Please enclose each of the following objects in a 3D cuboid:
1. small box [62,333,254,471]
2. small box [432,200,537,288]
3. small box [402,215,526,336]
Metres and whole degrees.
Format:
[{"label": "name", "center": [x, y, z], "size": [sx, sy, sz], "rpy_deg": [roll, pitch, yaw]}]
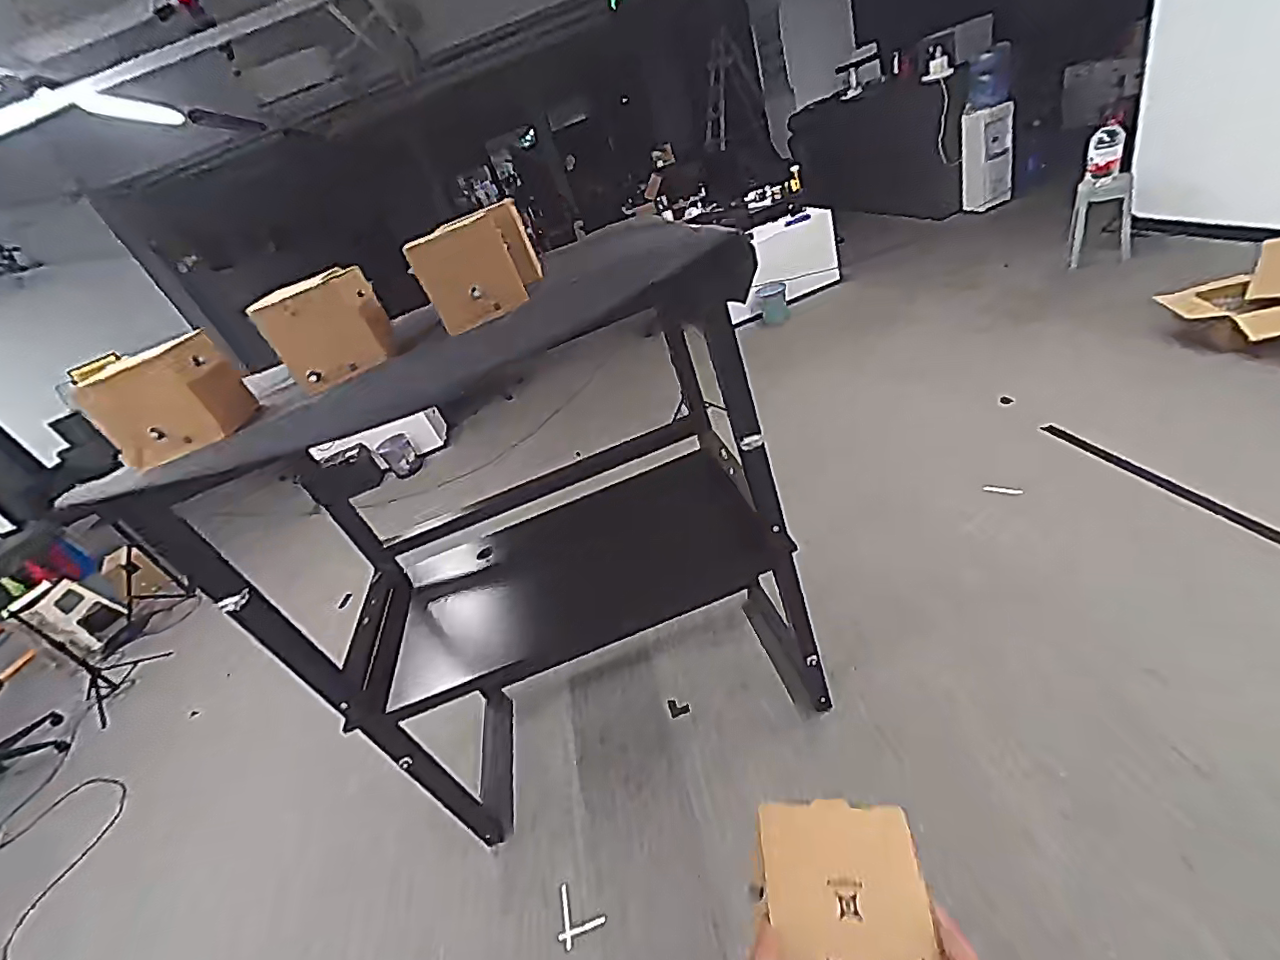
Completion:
[{"label": "small box", "center": [-0.859, -0.144, 0.992], "size": [0.168, 0.176, 0.179], "rpy_deg": [-24, 33, -3]}, {"label": "small box", "center": [-0.345, -0.520, 1.240], "size": [0.179, 0.176, 0.168], "rpy_deg": [-21, 31, 1]}, {"label": "small box", "center": [-0.341, -0.399, 1.056], "size": [0.168, 0.176, 0.179], "rpy_deg": [-27, 32, -7]}]
